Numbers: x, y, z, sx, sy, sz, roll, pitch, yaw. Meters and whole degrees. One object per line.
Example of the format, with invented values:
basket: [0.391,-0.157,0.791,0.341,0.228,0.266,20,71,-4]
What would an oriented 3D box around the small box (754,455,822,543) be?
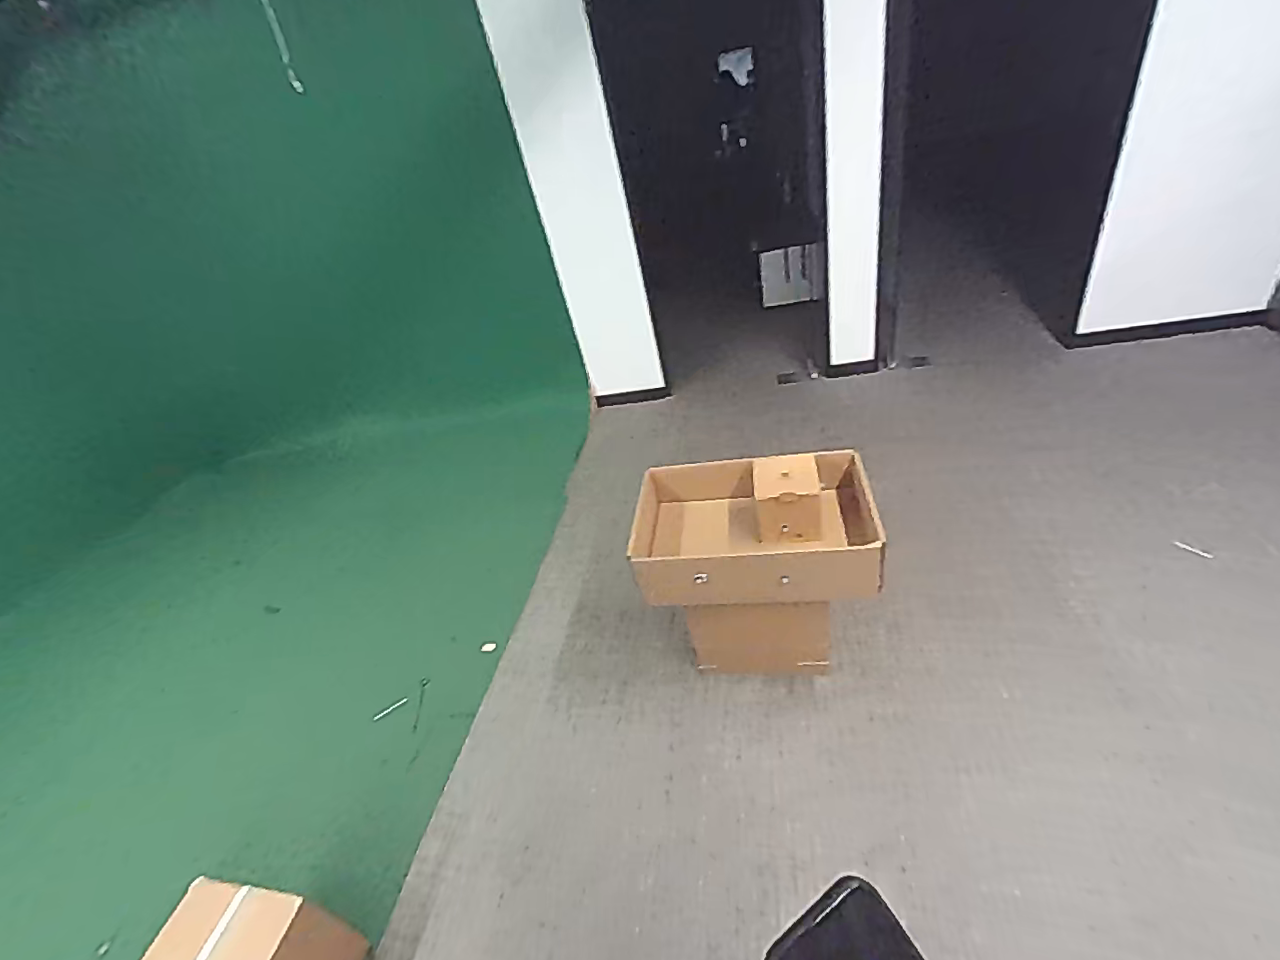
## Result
small box: [0.407,0.054,1.496,0.168,0.176,0.179,-6,37,15]
